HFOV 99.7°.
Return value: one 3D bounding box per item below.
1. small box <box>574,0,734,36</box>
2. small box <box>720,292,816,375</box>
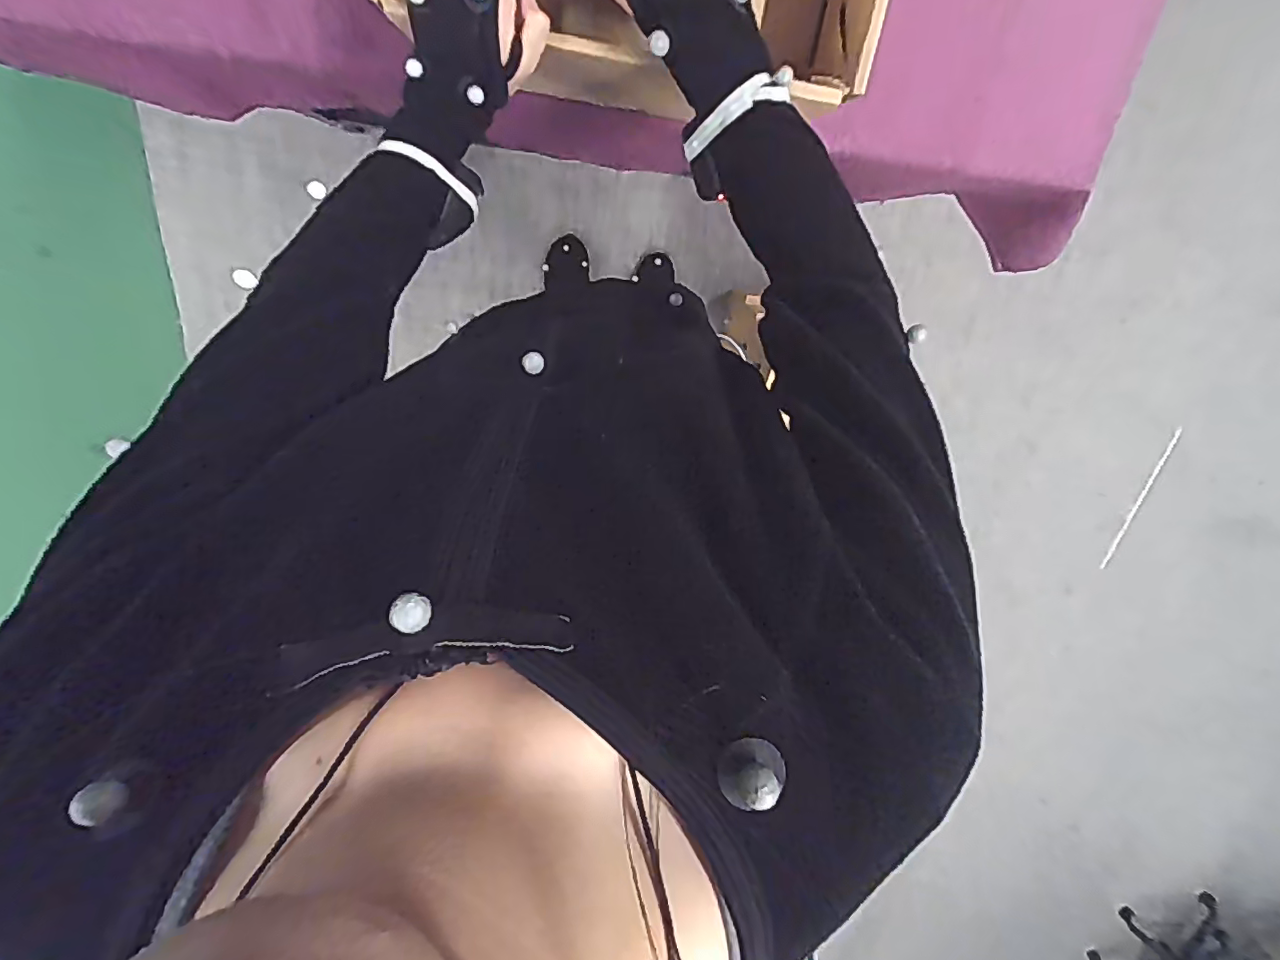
[{"bbox_3d":[0.015,-0.492,0.425,0.168,0.176,0.179,8,112,-4],"label":"small box"},{"bbox_3d":[0.309,-0.369,1.343,0.179,0.176,0.168,6,114,-4],"label":"small box"}]
